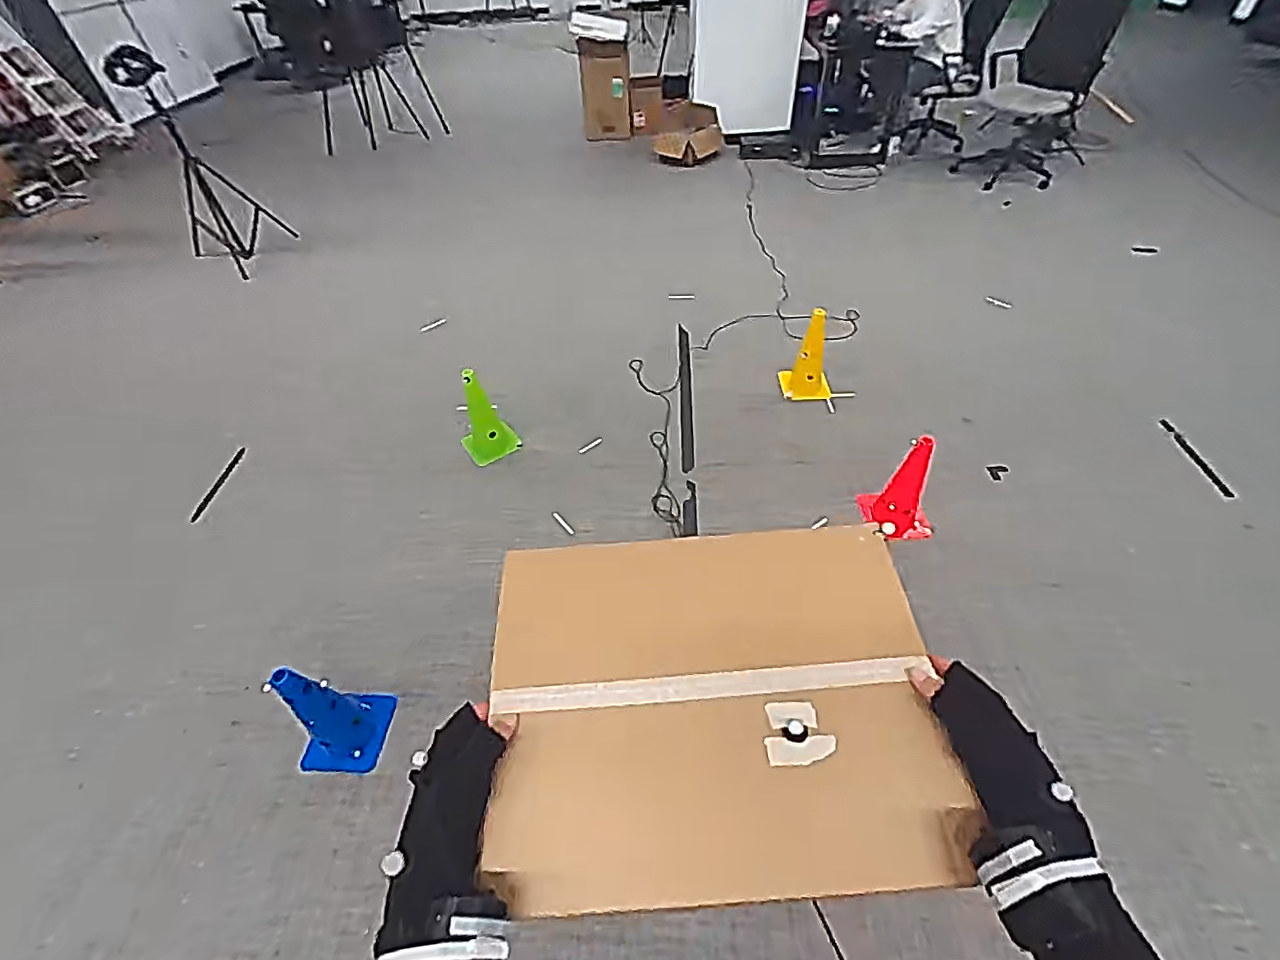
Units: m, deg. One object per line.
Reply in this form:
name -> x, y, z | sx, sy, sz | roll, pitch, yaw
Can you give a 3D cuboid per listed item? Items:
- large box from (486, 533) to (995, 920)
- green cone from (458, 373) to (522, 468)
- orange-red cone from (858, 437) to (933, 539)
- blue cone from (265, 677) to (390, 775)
large box -> 0.074, 0.284, 0.620 | 0.408, 0.320, 0.320 | -4, 54, 0
green cone -> -0.618, -0.257, 2.076 | 0.202, 0.368, 0.200 | -31, 52, -21
orange-red cone -> 0.856, 0.004, 1.727 | 0.198, 0.360, 0.199 | -3, 46, 1
blue cone -> -0.792, 0.579, 1.333 | 0.192, 0.380, 0.193 | 0, 47, 6
